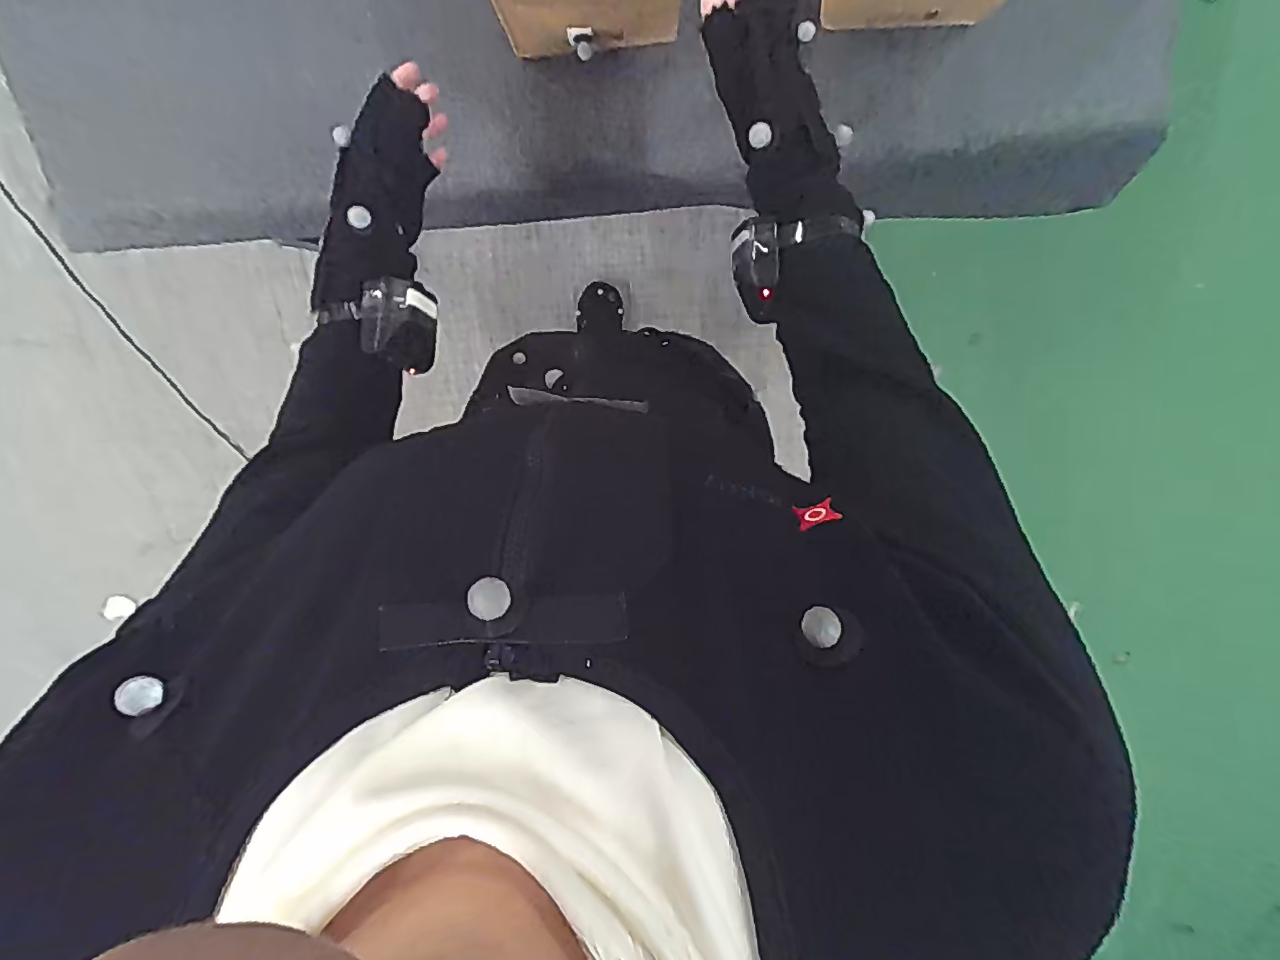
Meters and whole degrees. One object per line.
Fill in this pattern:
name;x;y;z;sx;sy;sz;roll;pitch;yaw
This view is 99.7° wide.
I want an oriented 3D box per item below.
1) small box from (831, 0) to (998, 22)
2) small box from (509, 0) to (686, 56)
small box;0.268;-0.529;0.449;0.168;0.176;0.179;-2;107;1
small box;-0.048;-0.507;0.458;0.168;0.176;0.179;-7;108;3
